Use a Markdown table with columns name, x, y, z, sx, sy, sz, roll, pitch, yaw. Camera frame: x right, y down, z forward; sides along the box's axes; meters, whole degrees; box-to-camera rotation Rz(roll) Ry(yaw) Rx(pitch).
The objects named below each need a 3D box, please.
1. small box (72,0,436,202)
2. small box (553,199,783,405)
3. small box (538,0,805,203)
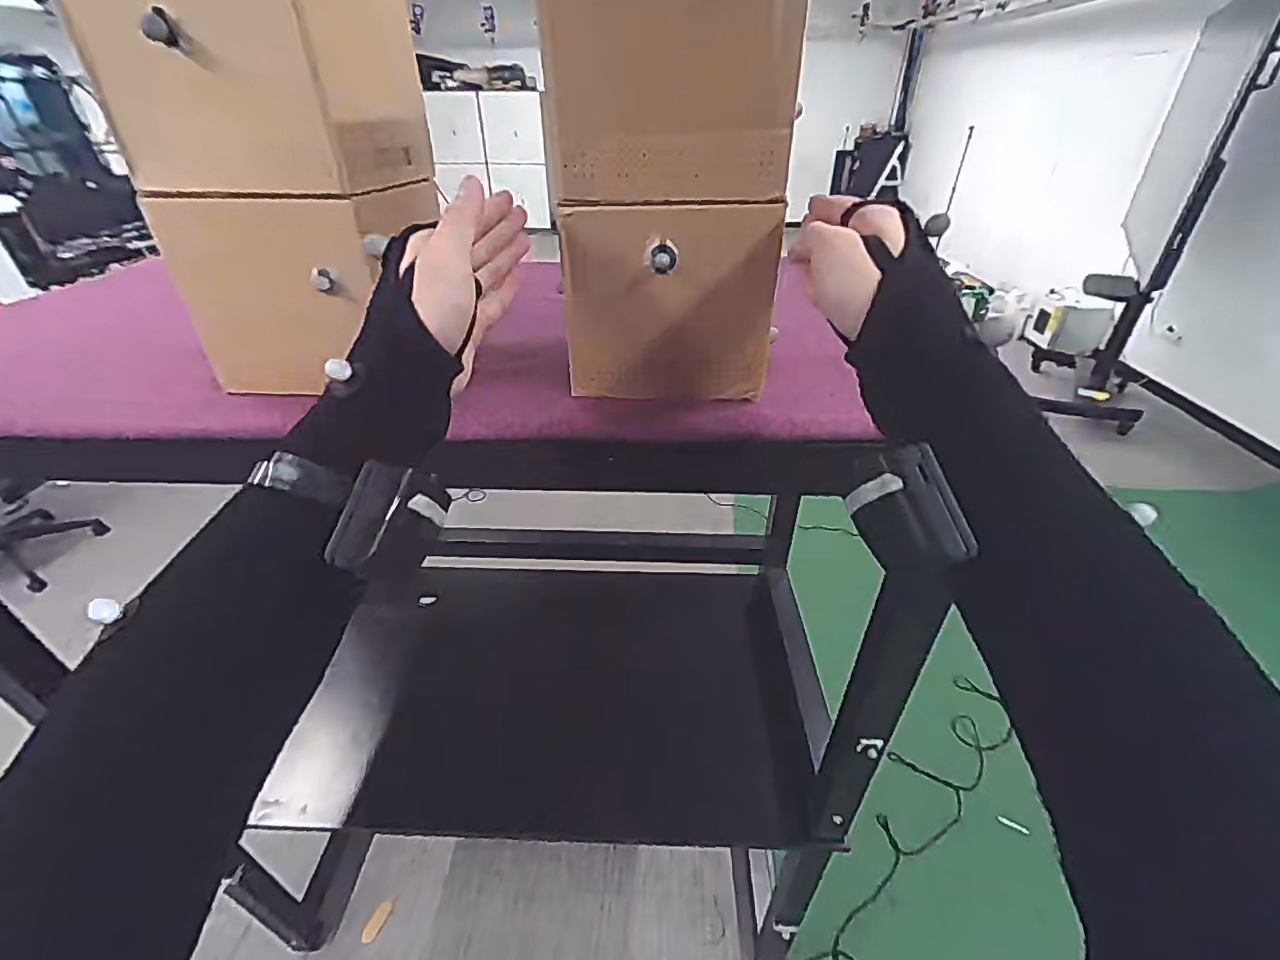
| name | x | y | z | sx | sy | sz | roll | pitch | yaw |
| --- | --- | --- | --- | --- | --- | --- | --- | --- | --- |
| small box | -0.292 | -0.325 | 0.434 | 0.179 | 0.176 | 0.168 | 2 | 34 | 4 |
| small box | 0.029 | -0.181 | 0.511 | 0.179 | 0.176 | 0.168 | 2 | 36 | 5 |
| small box | 0.026 | -0.313 | 0.418 | 0.179 | 0.176 | 0.168 | 3 | 36 | 5 |
